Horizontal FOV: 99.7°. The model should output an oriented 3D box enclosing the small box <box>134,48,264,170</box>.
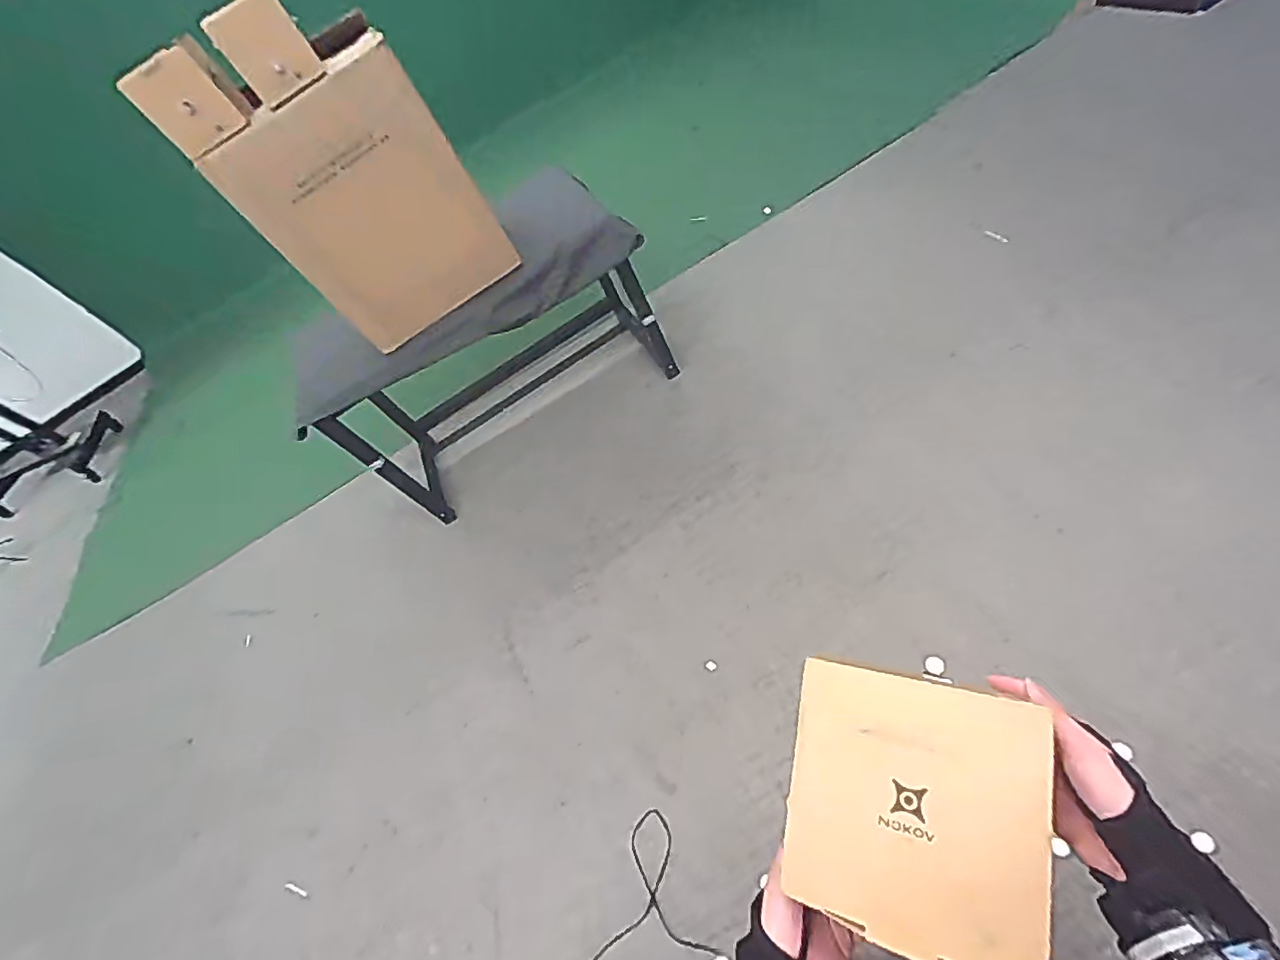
[{"bbox_3d":[-1.031,-0.873,1.281,0.168,0.176,0.179,-33,49,2],"label":"small box"}]
